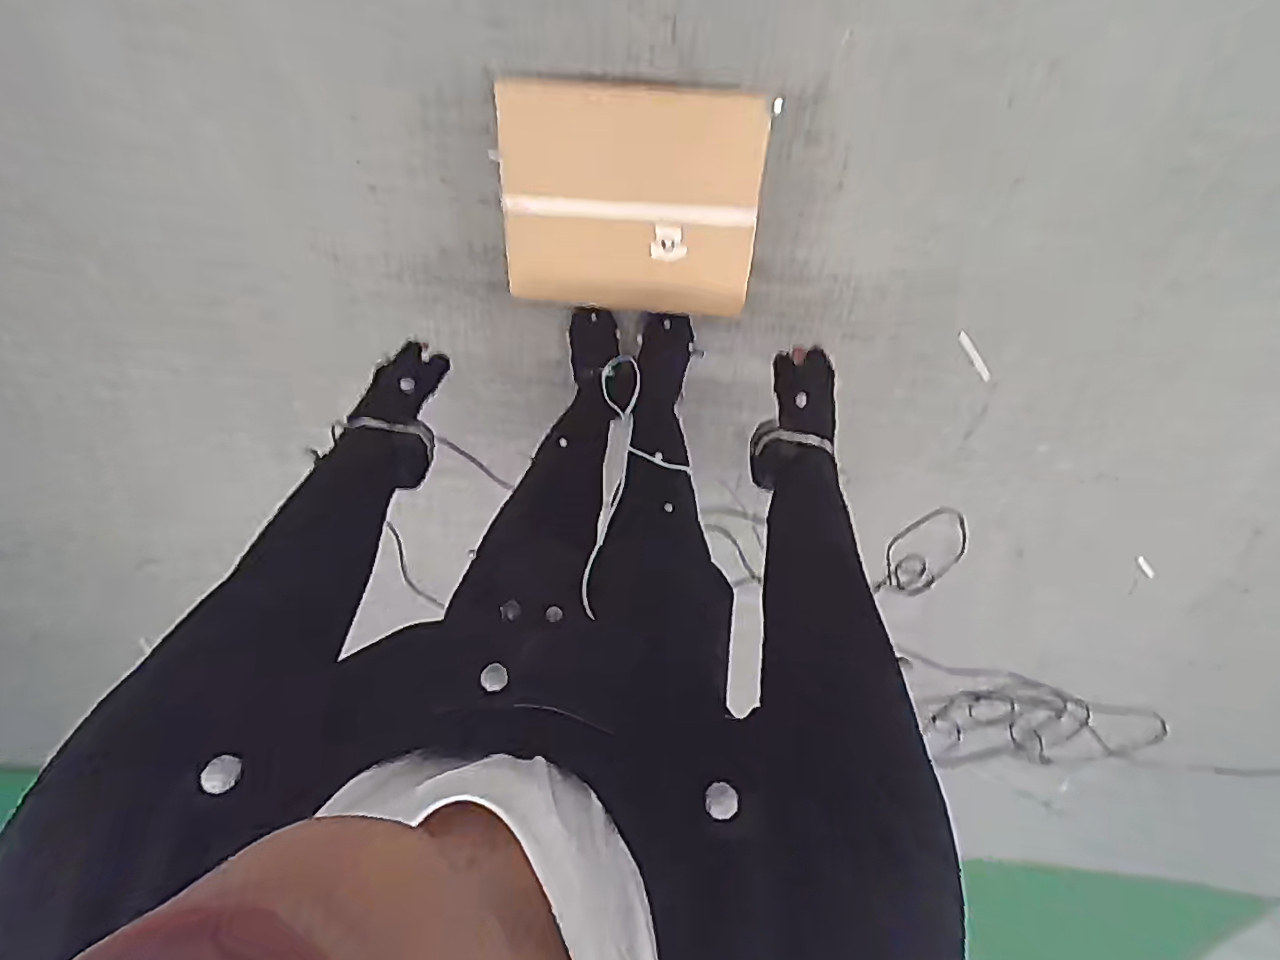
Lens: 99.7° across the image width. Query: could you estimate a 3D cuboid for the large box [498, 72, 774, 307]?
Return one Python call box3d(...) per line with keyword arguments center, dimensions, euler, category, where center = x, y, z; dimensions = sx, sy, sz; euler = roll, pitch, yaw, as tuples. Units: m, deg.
box3d(center=(-0.007, -0.514, 0.974), dimensions=(0.408, 0.320, 0.320), euler=(5, 122, 1), category="large box")
